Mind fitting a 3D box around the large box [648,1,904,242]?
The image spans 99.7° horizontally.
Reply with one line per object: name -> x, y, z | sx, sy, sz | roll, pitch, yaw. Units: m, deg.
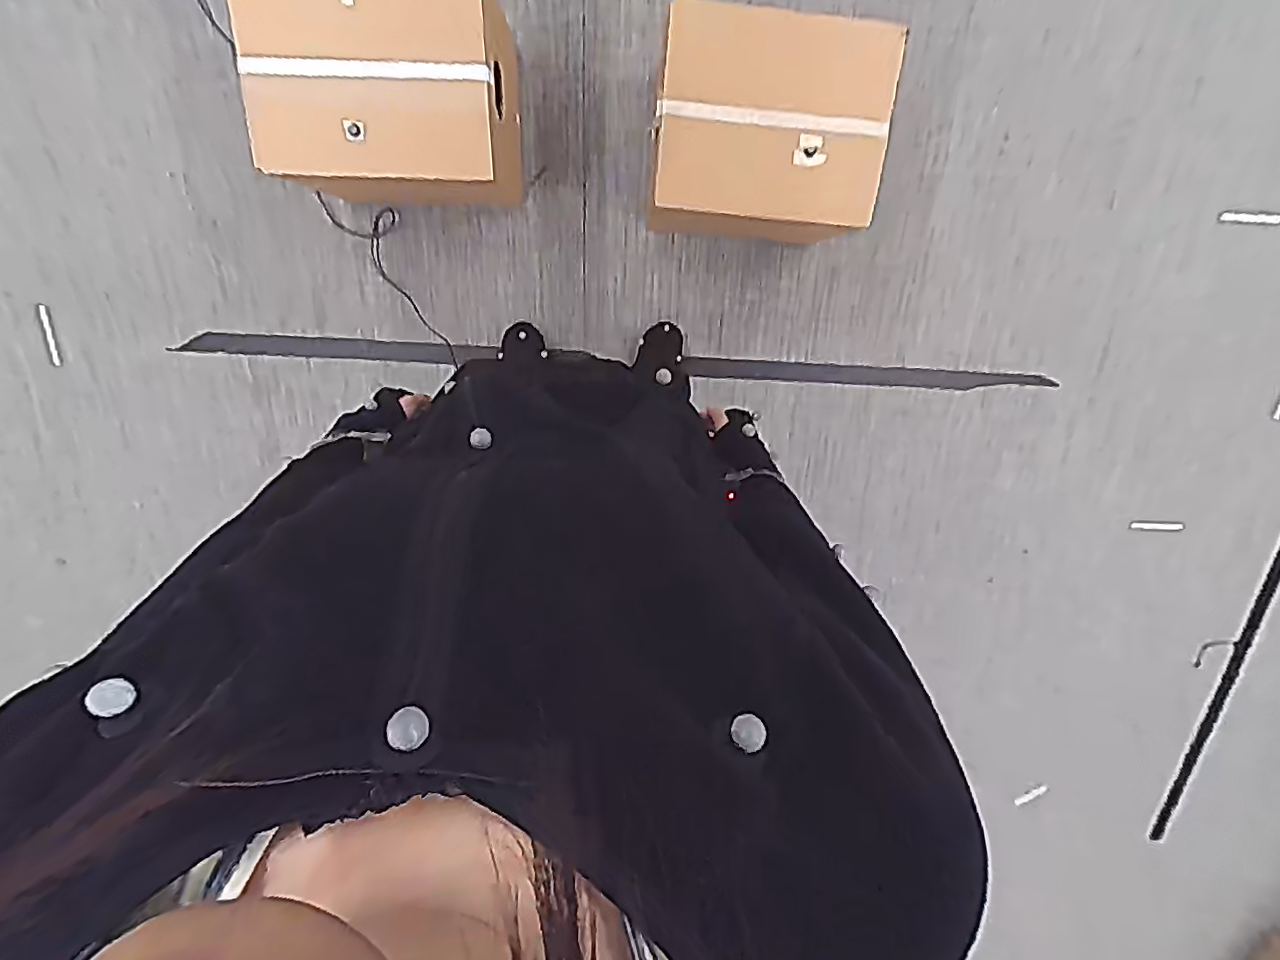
large box -> 0.232, -0.679, 1.090 | 0.408, 0.320, 0.320 | 4, 108, -5
